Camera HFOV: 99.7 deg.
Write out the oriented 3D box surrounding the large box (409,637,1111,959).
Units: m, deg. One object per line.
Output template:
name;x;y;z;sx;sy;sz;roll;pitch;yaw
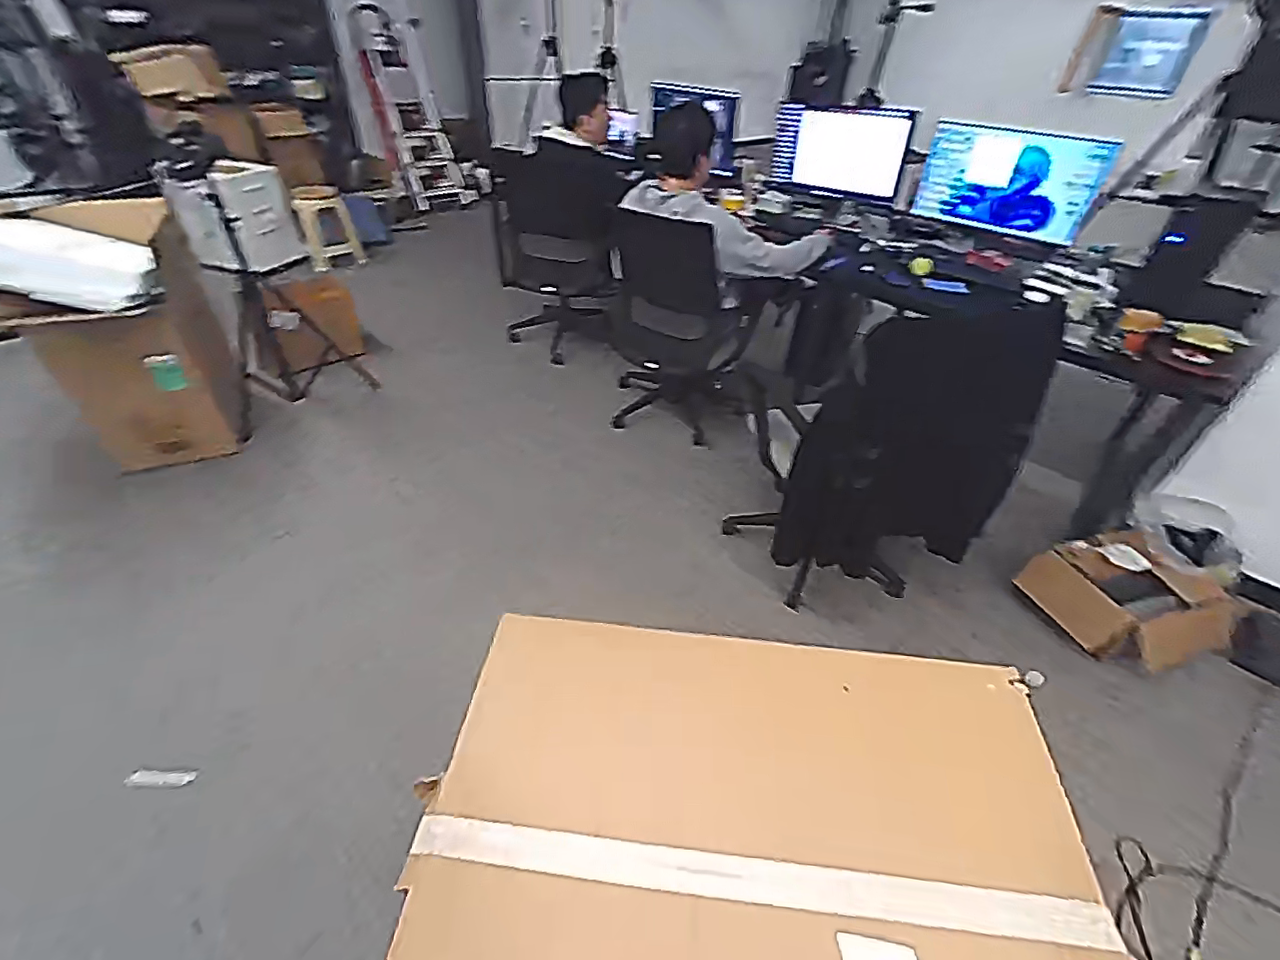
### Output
large box;0.067;0.352;0.433;0.408;0.320;0.320;4;47;3
